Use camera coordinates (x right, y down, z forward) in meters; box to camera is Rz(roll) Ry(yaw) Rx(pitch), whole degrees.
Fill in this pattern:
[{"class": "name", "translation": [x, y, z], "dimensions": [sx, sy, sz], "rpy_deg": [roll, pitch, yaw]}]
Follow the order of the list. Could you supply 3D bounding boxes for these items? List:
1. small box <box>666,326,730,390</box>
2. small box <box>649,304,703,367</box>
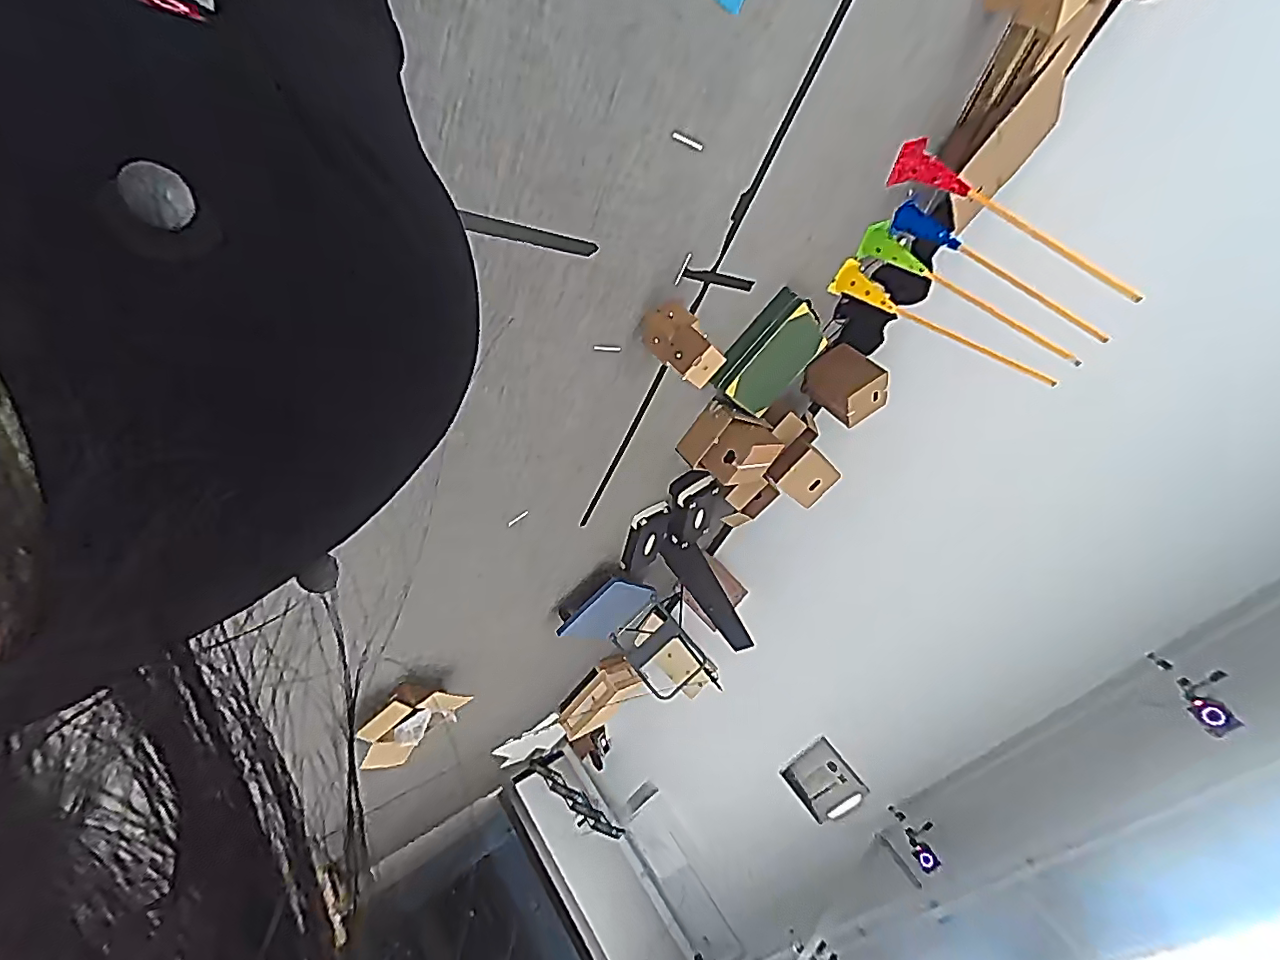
[{"class": "small box", "translation": [0.235, -0.507, 2.231], "dimensions": [0.168, 0.176, 0.179], "rpy_deg": [-46, 153, 14]}, {"class": "small box", "translation": [0.150, -0.625, 2.312], "dimensions": [0.168, 0.176, 0.179], "rpy_deg": [-32, 153, -17]}]
